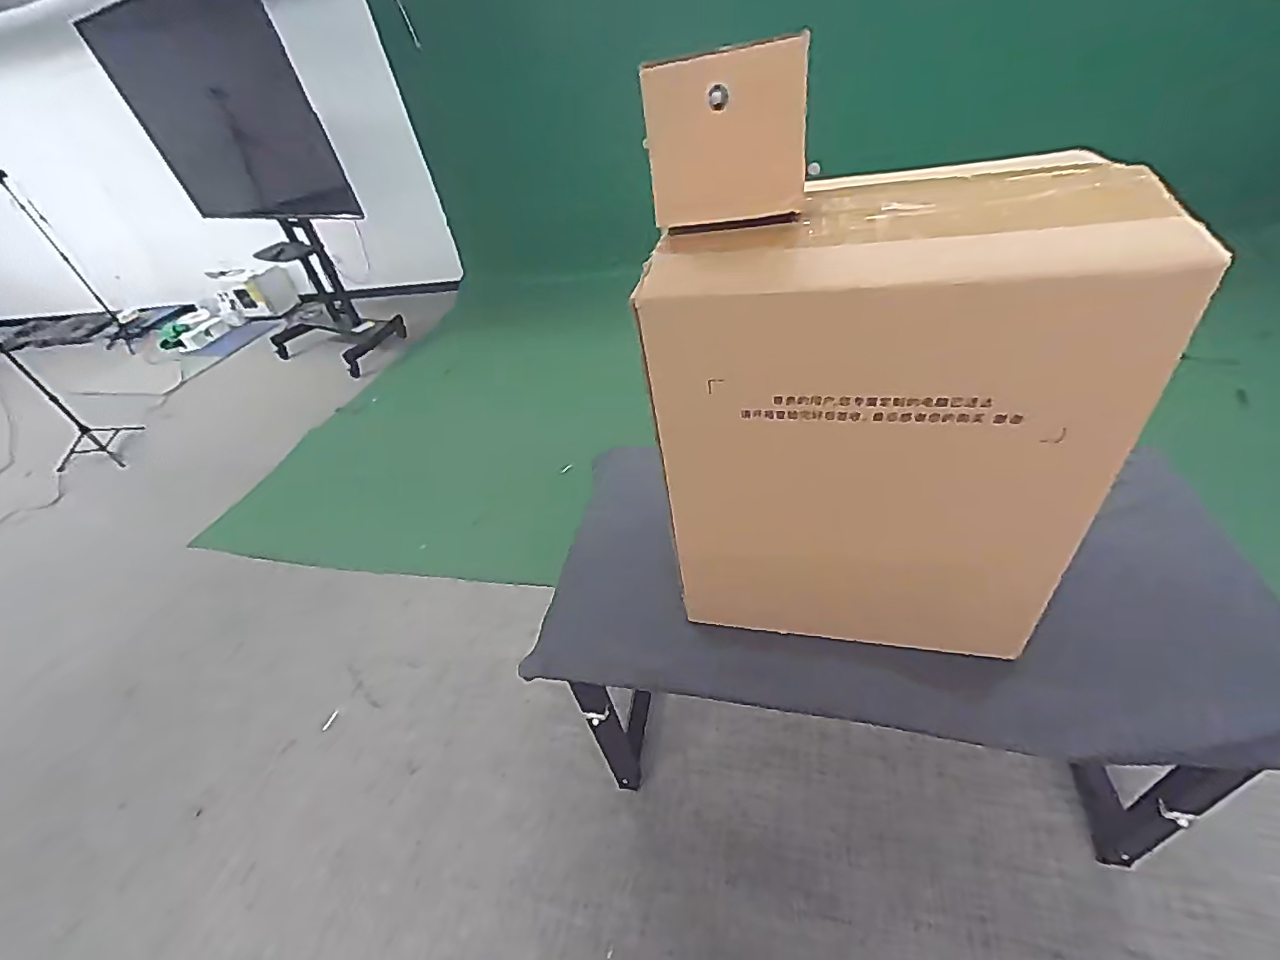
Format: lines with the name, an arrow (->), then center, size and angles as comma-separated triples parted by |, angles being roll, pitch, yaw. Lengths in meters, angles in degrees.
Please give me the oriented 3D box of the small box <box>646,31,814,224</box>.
small box -> 0.115, -0.419, 0.660 | 0.179, 0.176, 0.168 | 2, 35, 14
